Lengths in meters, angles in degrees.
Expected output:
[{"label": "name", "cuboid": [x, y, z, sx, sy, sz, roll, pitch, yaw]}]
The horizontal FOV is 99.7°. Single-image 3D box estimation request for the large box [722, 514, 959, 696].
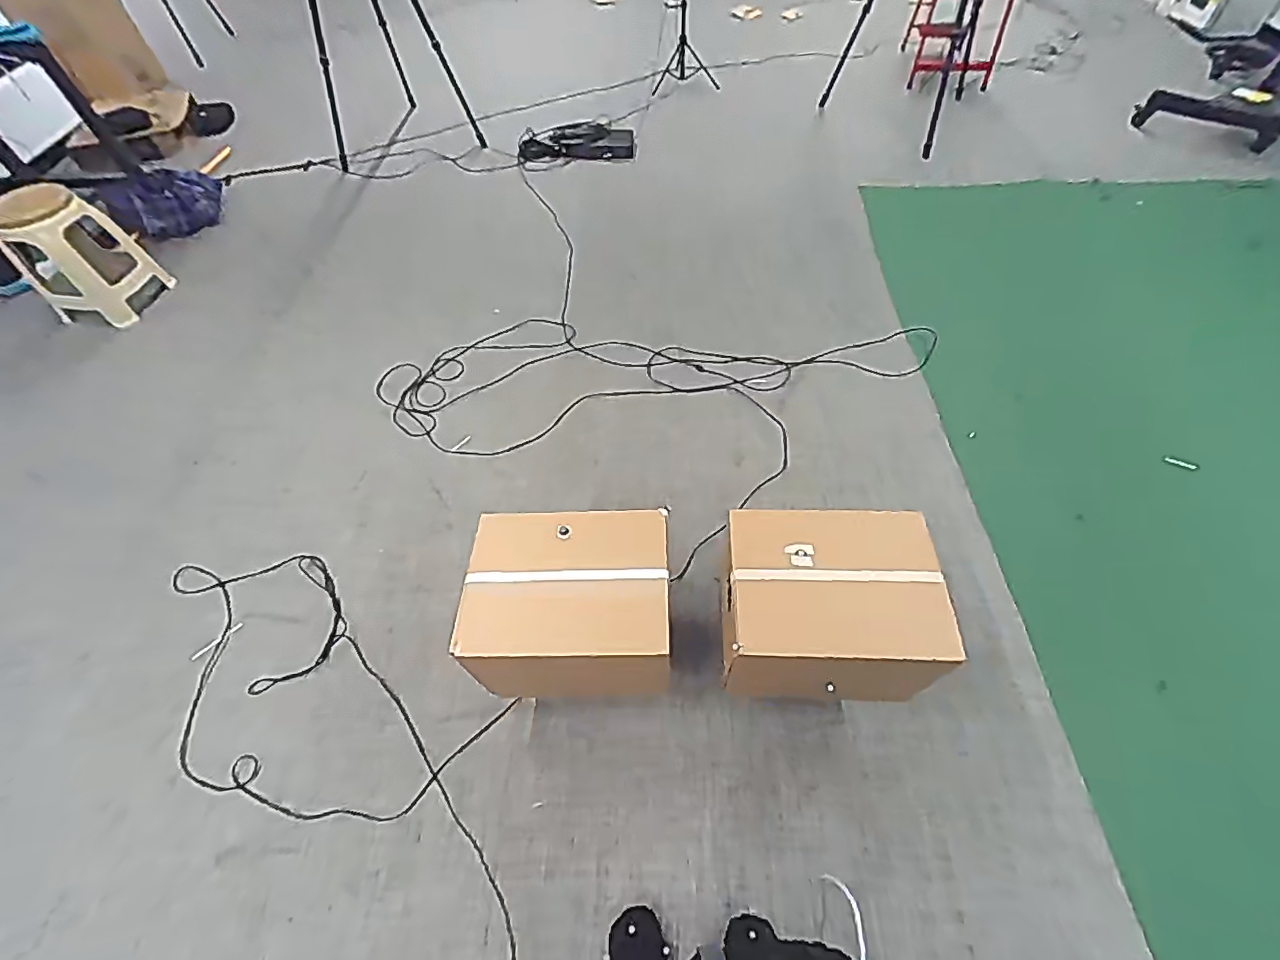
[{"label": "large box", "cuboid": [0.397, 0.283, 1.194, 0.408, 0.320, 0.320, 0, 55, 4]}]
